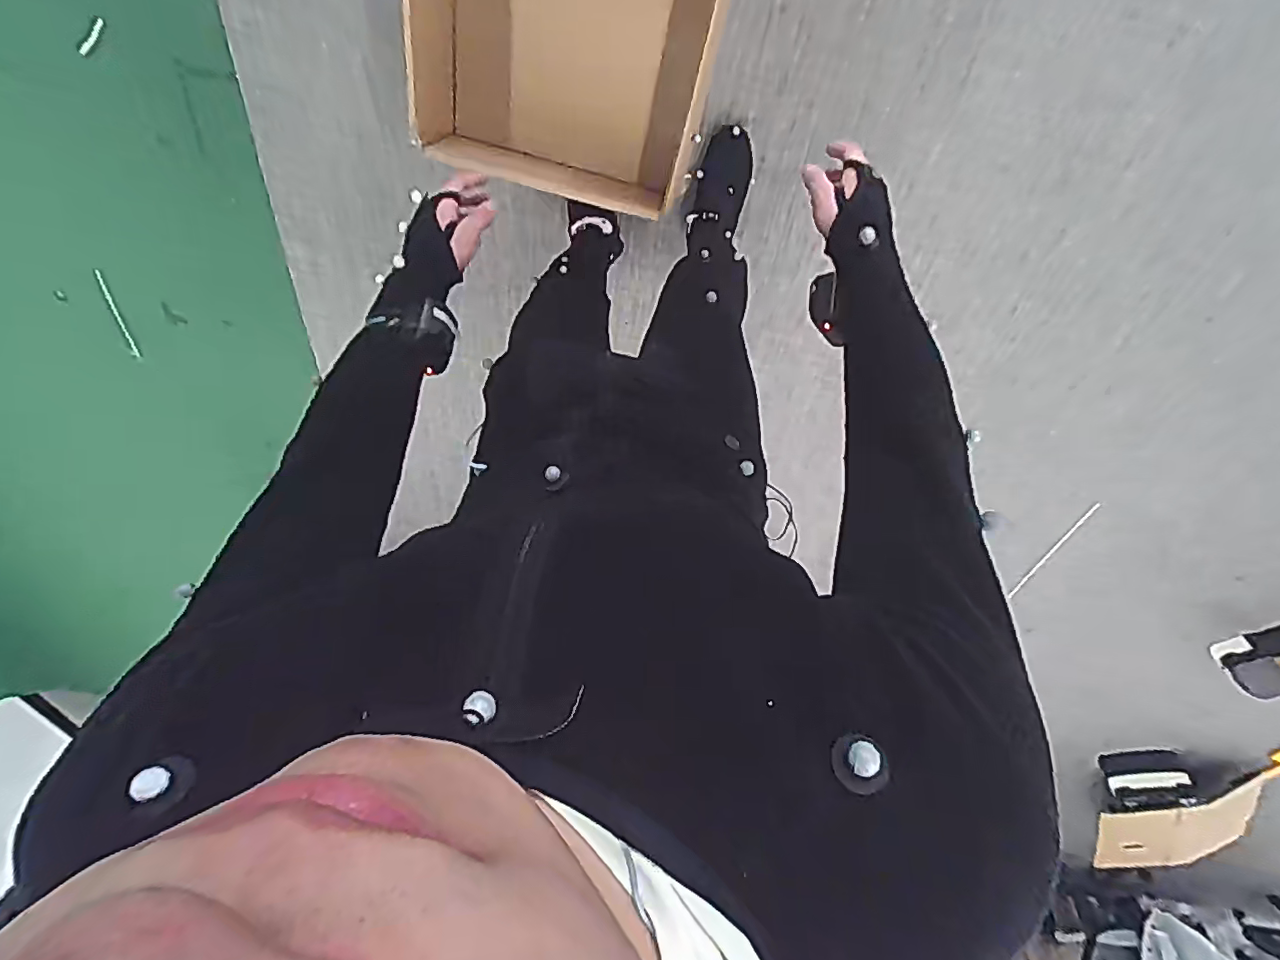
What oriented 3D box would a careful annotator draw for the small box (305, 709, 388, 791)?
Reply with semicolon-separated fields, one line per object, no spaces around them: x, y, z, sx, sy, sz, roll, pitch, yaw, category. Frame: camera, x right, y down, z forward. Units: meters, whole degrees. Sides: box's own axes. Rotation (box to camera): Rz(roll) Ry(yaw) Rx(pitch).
-0.905;0.835;1.675;0.168;0.176;0.179;25;132;-13;small box
